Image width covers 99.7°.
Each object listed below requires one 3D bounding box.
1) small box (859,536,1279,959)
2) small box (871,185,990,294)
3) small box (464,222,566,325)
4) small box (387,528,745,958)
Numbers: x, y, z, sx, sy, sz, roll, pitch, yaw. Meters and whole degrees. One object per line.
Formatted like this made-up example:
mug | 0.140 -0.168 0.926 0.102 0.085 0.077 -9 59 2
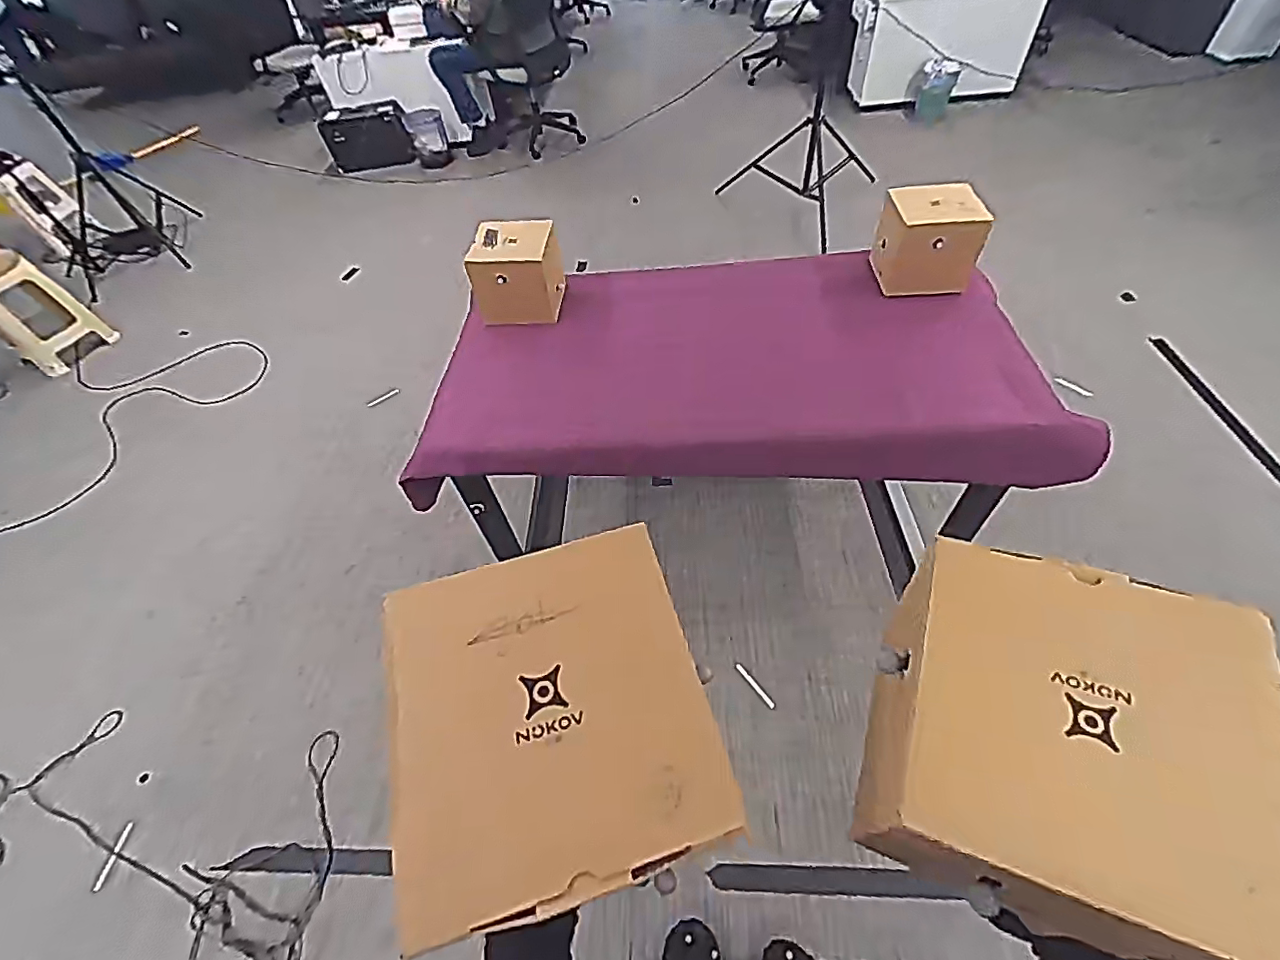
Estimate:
small box | 0.247 0.168 0.346 0.168 0.176 0.179 13 57 20
small box | 0.635 -0.532 1.211 0.179 0.176 0.168 -1 53 5
small box | -0.285 -0.482 1.272 0.179 0.176 0.168 1 54 5
small box | -0.047 0.163 0.357 0.168 0.176 0.179 -15 56 -9
